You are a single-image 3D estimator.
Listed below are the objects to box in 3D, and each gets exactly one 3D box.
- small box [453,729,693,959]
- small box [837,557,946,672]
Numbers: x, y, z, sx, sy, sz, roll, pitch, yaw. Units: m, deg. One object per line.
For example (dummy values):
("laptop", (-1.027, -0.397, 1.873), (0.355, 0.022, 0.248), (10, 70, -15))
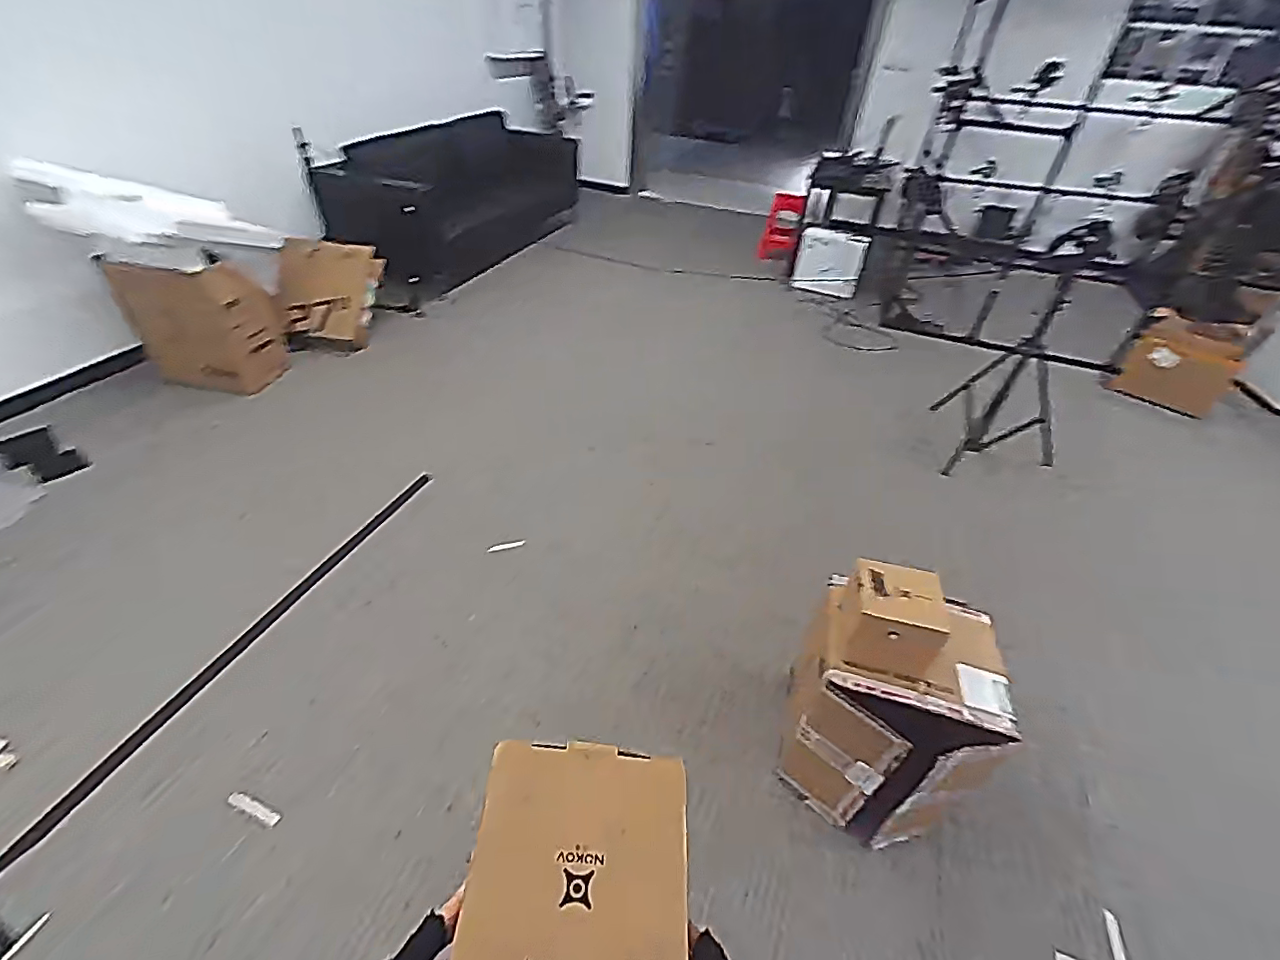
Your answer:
("small box", (-0.054, 0.340, 0.463), (0.168, 0.176, 0.179), (9, 47, -5))
("small box", (0.547, 0.302, 1.206), (0.179, 0.176, 0.168), (11, 39, 9))
